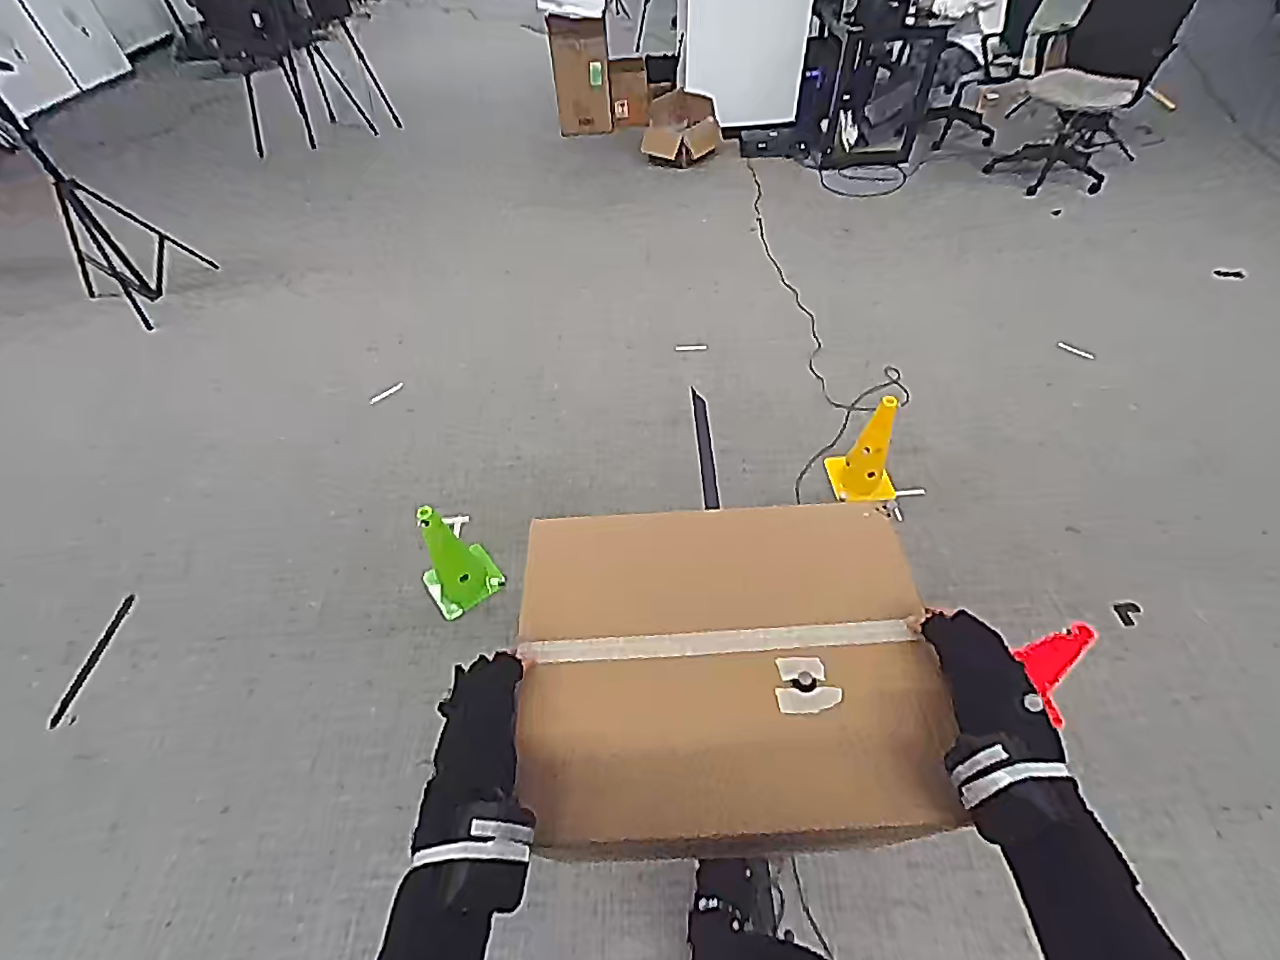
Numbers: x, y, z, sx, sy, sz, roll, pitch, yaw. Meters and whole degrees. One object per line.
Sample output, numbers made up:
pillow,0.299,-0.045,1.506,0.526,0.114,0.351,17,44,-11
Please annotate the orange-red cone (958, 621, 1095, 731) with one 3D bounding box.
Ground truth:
orange-red cone,0.936,0.424,1.258,0.198,0.360,0.199,-5,48,-1

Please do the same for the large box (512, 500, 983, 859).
large box,0.085,0.248,0.654,0.408,0.320,0.320,-3,53,0

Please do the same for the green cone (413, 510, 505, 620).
green cone,-0.558,0.204,1.550,0.202,0.368,0.200,-34,55,-21
